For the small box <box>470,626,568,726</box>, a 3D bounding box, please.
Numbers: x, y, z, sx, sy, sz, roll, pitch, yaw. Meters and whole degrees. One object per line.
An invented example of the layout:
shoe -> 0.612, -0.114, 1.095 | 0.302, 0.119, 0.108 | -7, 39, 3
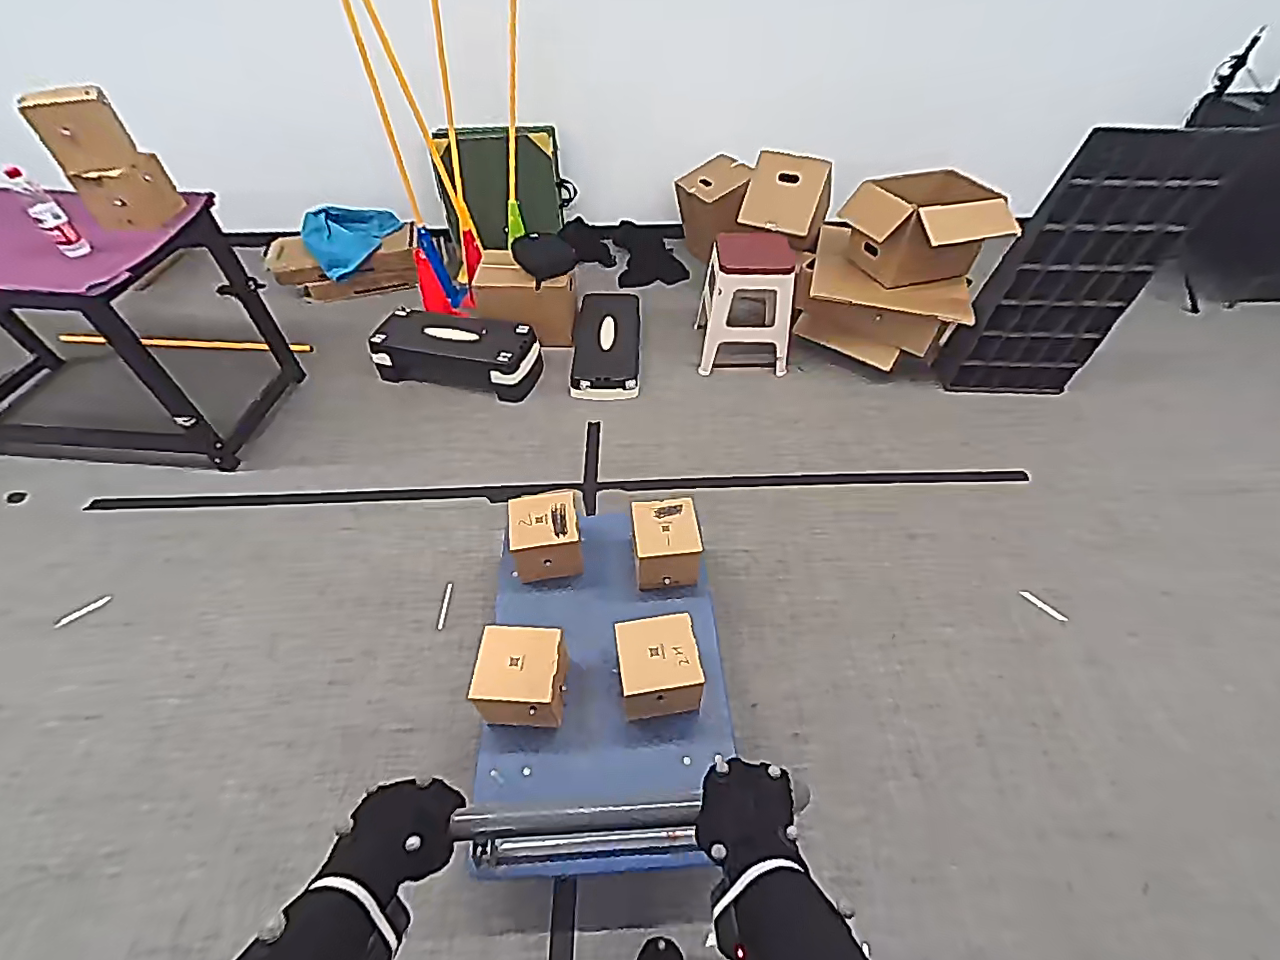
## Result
small box -> -0.266, 0.449, 1.234 | 0.179, 0.176, 0.168 | 3, 49, 1

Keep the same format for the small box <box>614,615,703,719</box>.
small box -> 0.040, 0.434, 1.244 | 0.179, 0.176, 0.168 | -7, 50, -5

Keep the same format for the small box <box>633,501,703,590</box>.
small box -> 0.070, 0.178, 1.464 | 0.168, 0.176, 0.179 | -4, 51, -4
